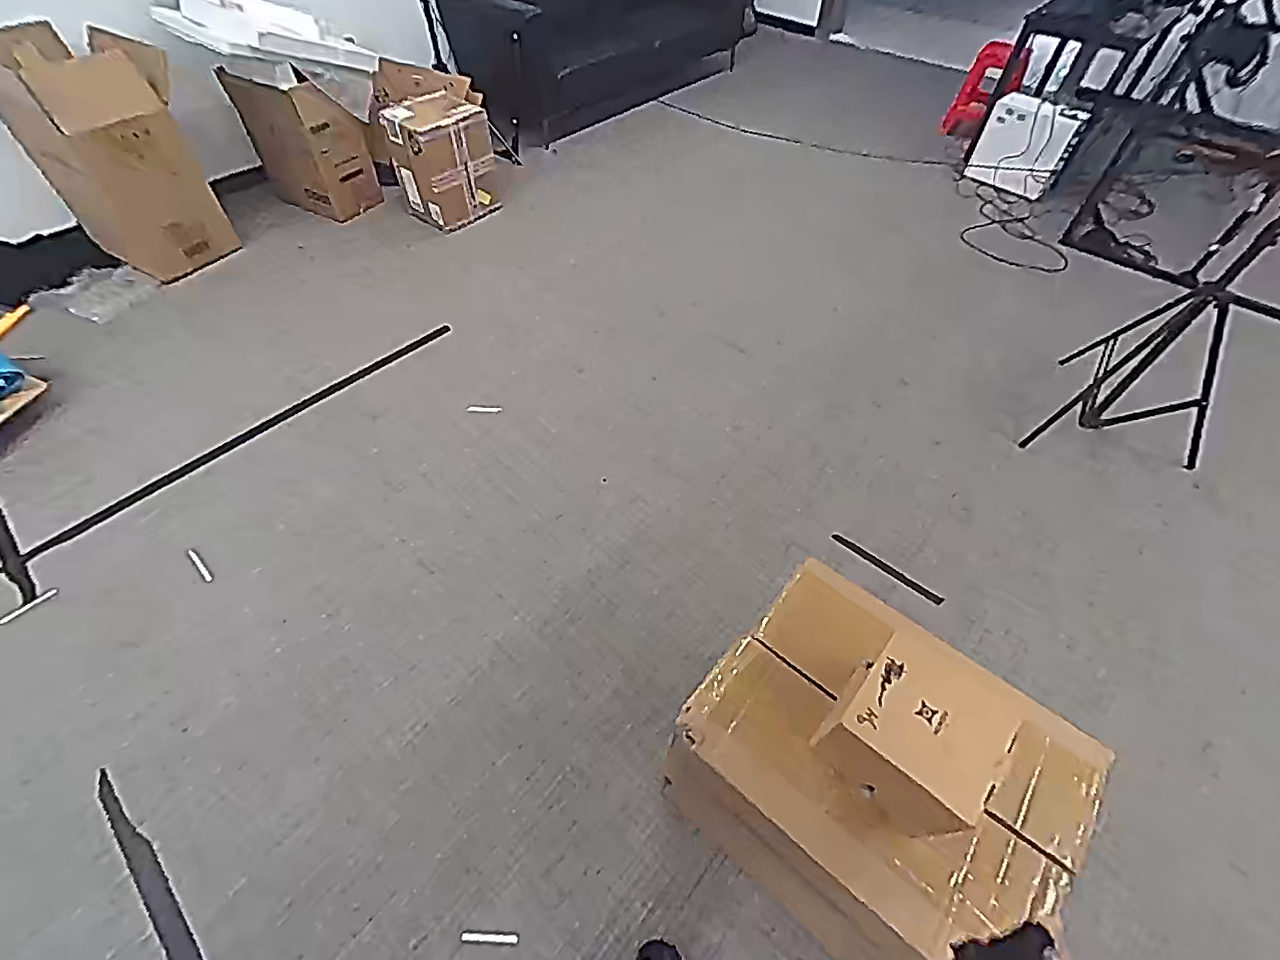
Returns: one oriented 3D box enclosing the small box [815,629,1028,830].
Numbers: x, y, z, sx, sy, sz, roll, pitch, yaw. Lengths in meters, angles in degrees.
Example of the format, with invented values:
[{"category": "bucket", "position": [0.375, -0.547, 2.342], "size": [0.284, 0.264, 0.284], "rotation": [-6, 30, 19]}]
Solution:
[{"category": "small box", "position": [0.371, 0.344, 0.741], "size": [0.179, 0.176, 0.168], "rotation": [35, 62, 24]}]
